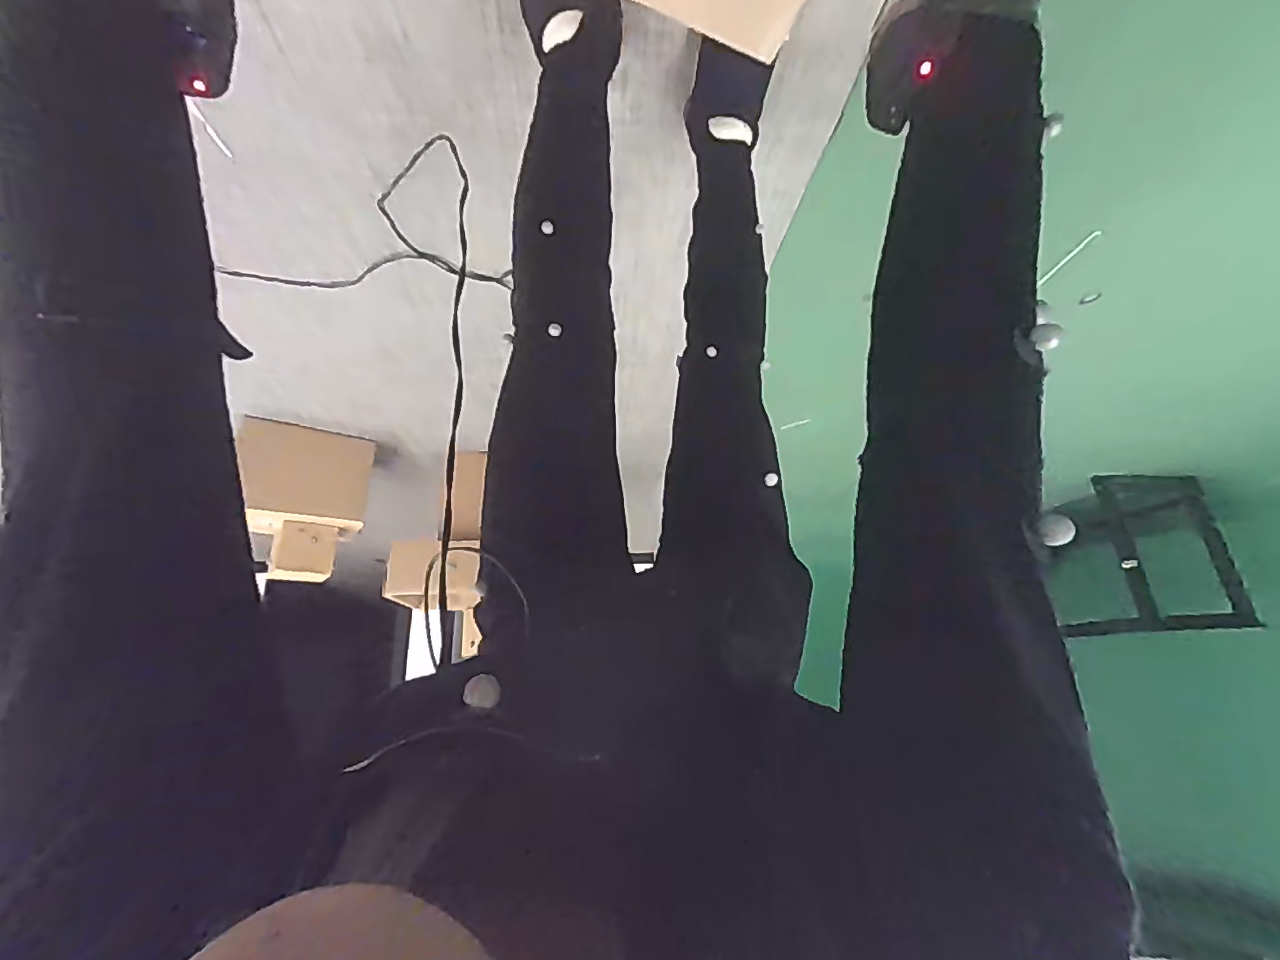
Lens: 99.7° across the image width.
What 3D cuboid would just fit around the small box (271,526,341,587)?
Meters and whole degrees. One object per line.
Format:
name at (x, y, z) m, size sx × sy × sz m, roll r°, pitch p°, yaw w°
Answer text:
small box at (-1.138, 0.265, 1.847) m, size 0.168 × 0.176 × 0.179 m, roll 14°, pitch 155°, yaw -37°

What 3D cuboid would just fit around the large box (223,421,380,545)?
large box at (-1.177, 0.027, 1.902) m, size 0.408 × 0.320 × 0.320 m, roll 13°, pitch 154°, yaw -33°

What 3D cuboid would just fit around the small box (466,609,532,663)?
small box at (-0.503, 0.566, 1.952) m, size 0.179 × 0.176 × 0.168 m, roll -12°, pitch 158°, yaw 22°
